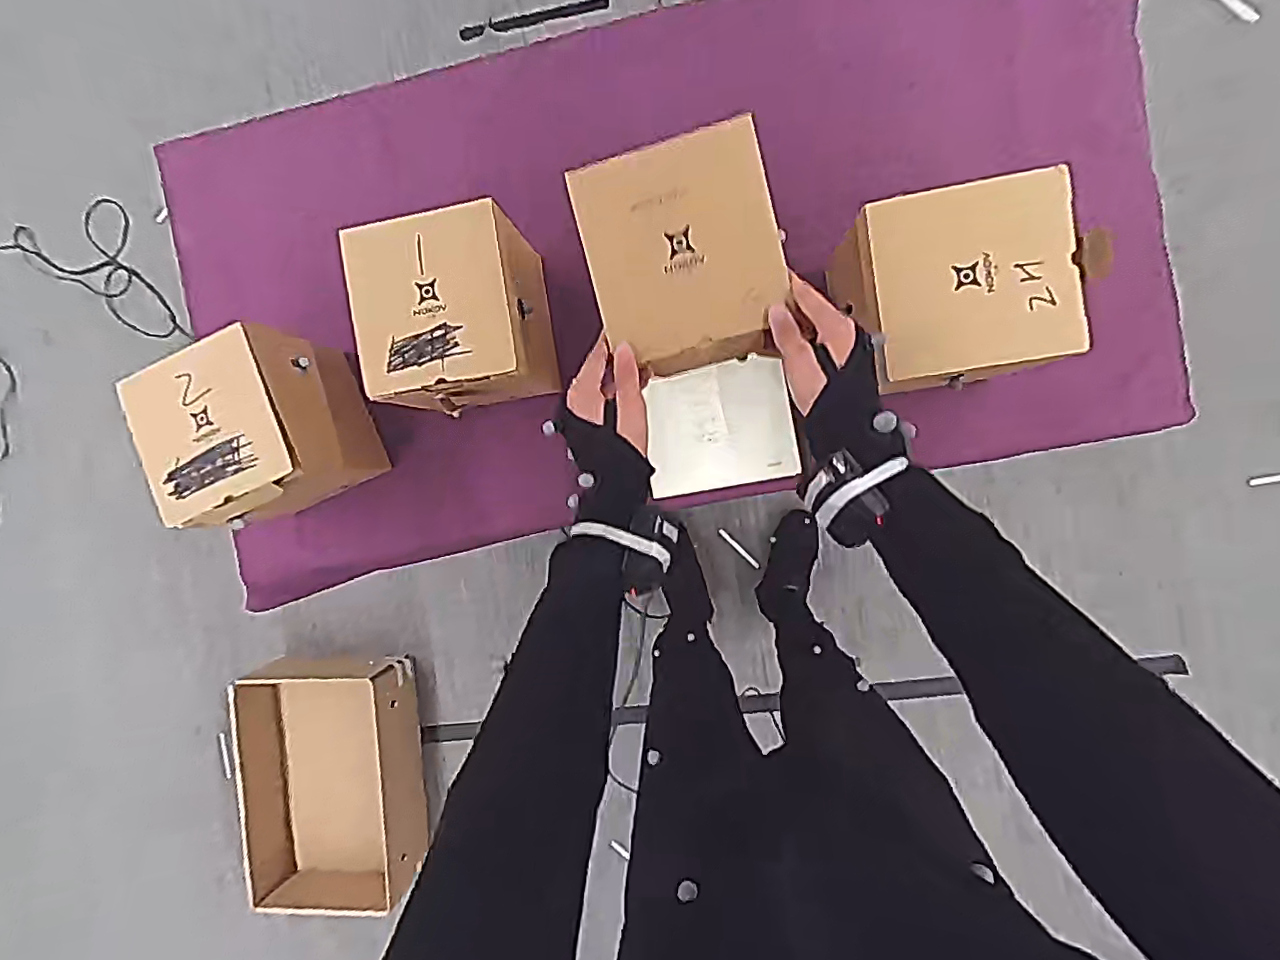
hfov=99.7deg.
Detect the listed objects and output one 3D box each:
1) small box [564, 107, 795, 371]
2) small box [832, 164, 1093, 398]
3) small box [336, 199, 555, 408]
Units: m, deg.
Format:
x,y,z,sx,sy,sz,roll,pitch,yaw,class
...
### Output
x,y,z,sx,sy,sz,roll,pitch,yaw,class
0.042,-0.212,0.535,0.168,0.176,0.179,-14,95,7,small box
0.306,-0.184,0.555,0.179,0.176,0.168,-8,92,7,small box
-0.204,-0.180,0.614,0.168,0.176,0.179,-9,91,6,small box
